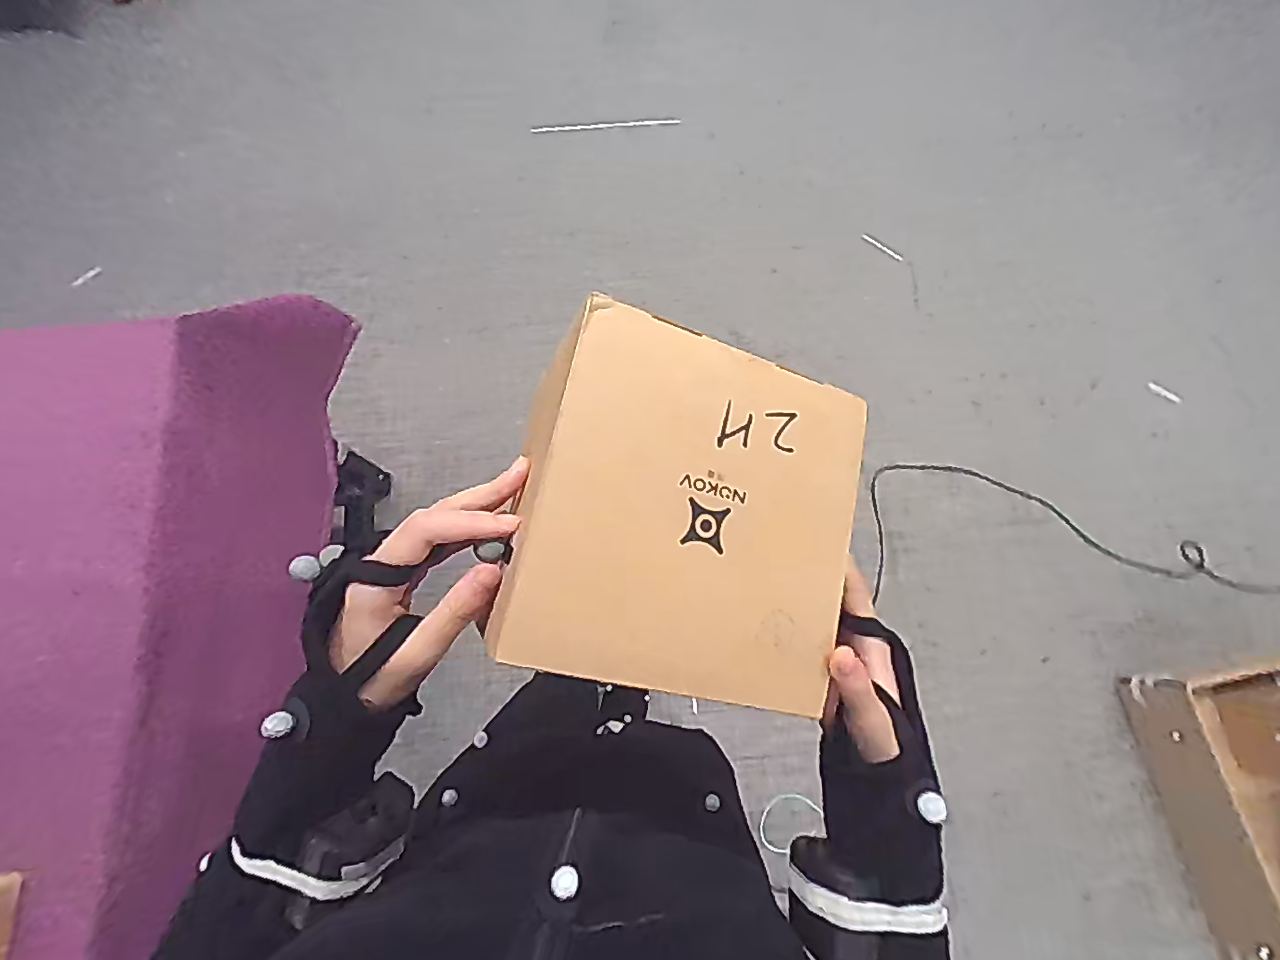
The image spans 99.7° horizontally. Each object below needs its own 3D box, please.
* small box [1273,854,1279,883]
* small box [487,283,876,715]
[{"bbox_3d":[1.465,0.870,1.087,0.168,0.176,0.179,-6,74,-1],"label":"small box"},{"bbox_3d":[0.011,0.021,0.337,0.168,0.176,0.179,19,76,-18],"label":"small box"}]
